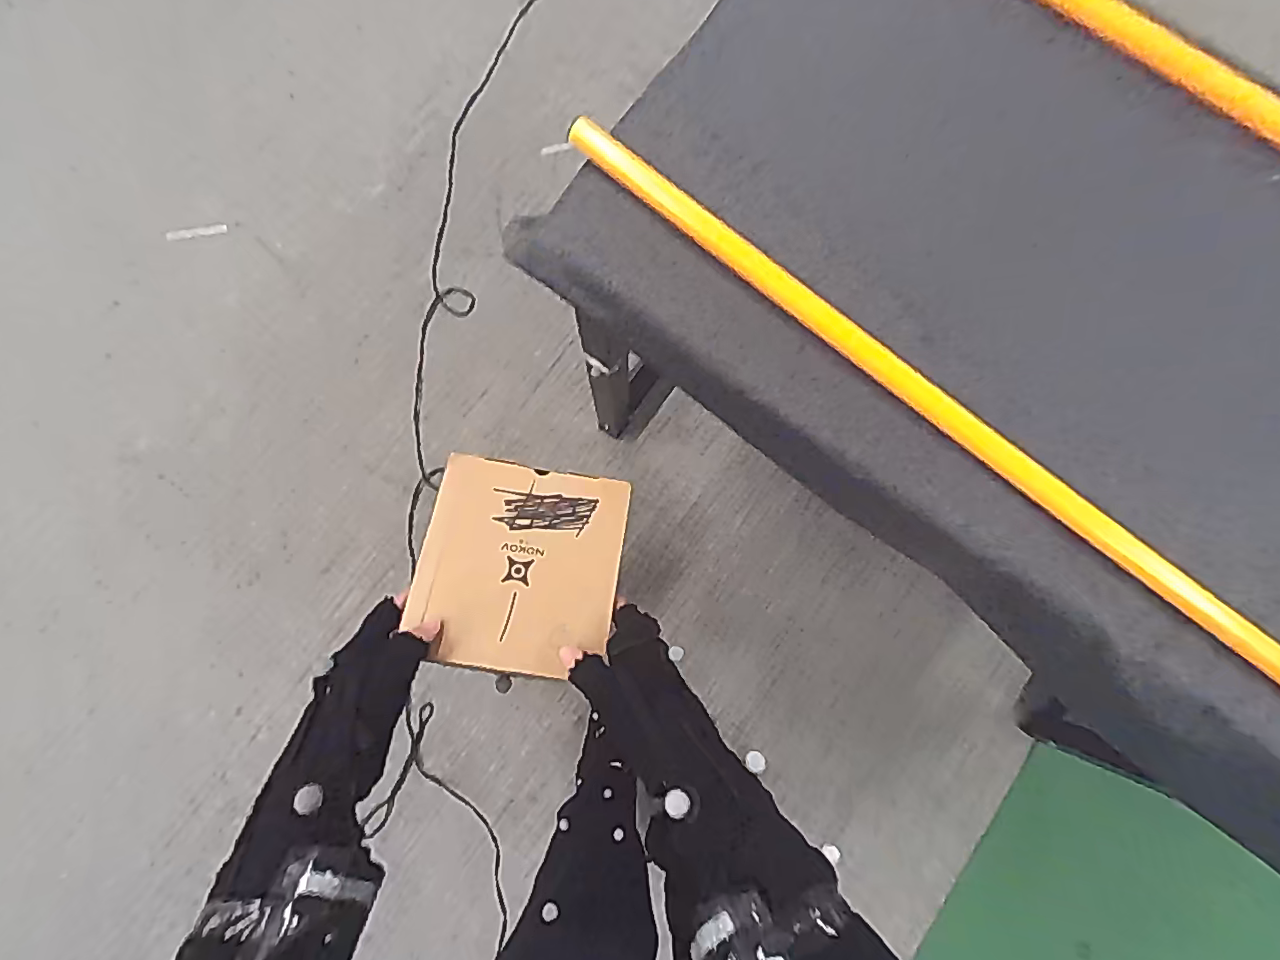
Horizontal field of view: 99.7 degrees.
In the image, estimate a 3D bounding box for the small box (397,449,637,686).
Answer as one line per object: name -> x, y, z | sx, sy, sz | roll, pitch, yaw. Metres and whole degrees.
small box -> -0.105, 0.094, 0.519 | 0.168, 0.176, 0.179 | 10, 69, -3
